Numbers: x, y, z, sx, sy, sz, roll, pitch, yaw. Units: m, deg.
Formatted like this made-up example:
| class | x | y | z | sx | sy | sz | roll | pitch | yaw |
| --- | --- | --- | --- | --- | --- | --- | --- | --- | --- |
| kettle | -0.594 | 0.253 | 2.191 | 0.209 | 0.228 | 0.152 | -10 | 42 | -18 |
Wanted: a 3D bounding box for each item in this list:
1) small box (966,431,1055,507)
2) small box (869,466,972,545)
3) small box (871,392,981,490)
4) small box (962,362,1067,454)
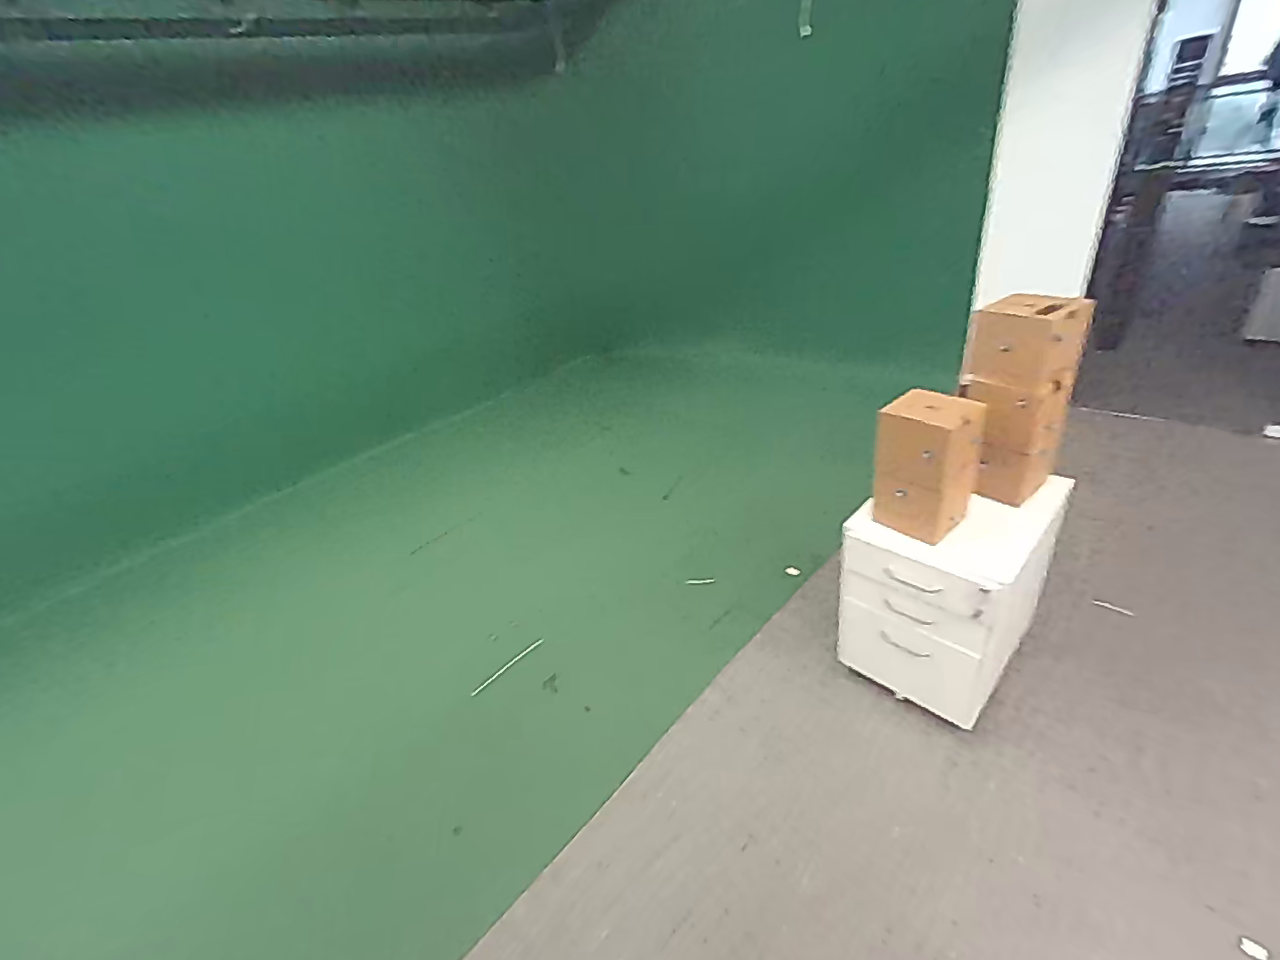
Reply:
| class | x | y | z | sx | sy | sz | roll | pitch | yaw |
| --- | --- | --- | --- | --- | --- | --- | --- | --- | --- |
| small box | 0.979 | -0.050 | 1.475 | 0.168 | 0.176 | 0.179 | -28 | 35 | -26 |
| small box | 0.720 | 0.042 | 1.404 | 0.168 | 0.176 | 0.179 | -28 | 37 | -28 |
| small box | 0.691 | -0.094 | 1.321 | 0.168 | 0.176 | 0.179 | -28 | 34 | -29 |
| small box | 0.947 | -0.186 | 1.393 | 0.168 | 0.176 | 0.179 | -29 | 36 | -27 |
